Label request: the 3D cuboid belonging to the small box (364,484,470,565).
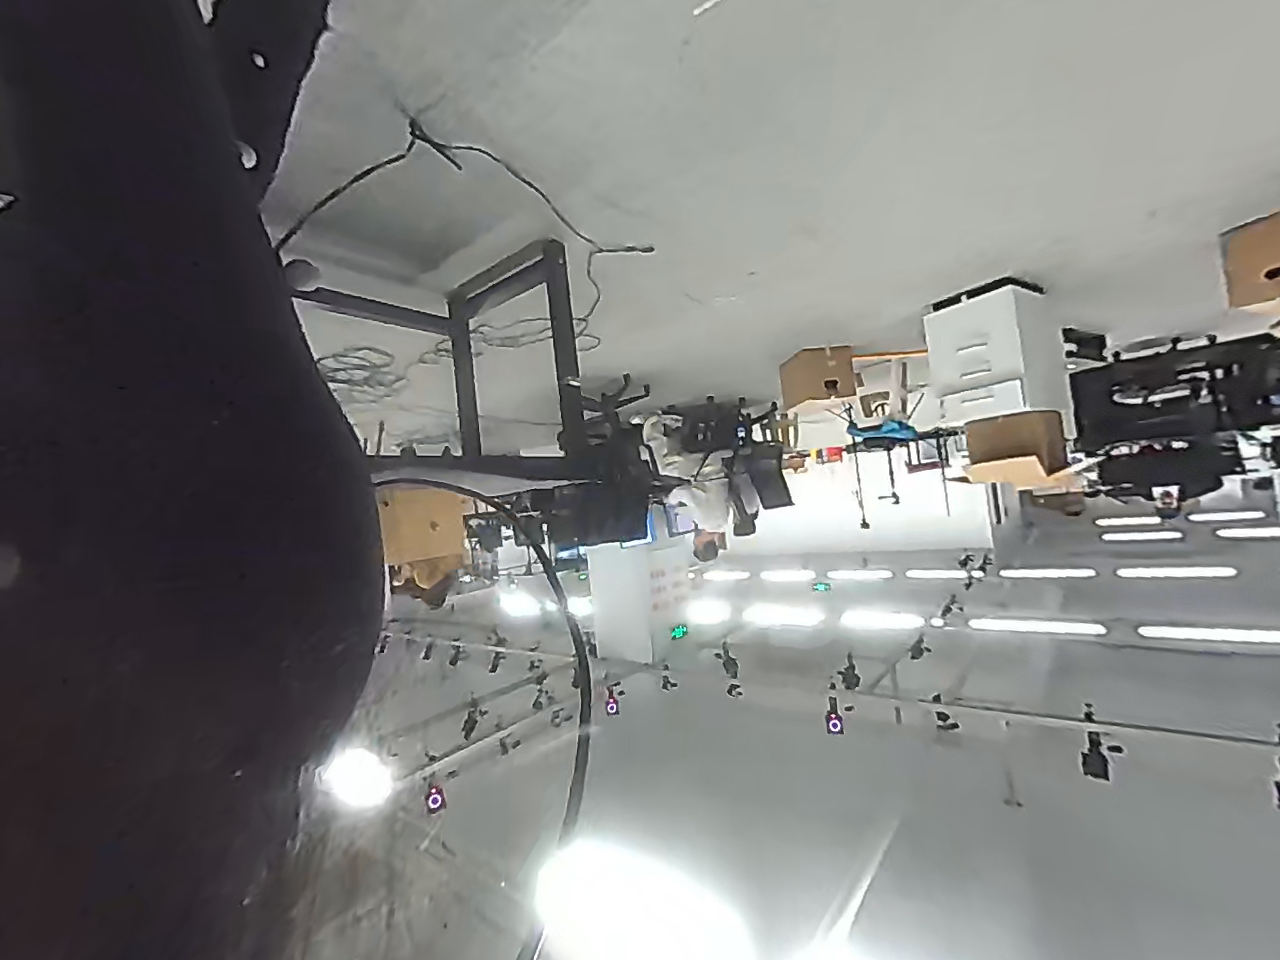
[{"bbox_3d":[-0.537,0.106,1.298,0.168,0.176,0.179,-7,180,36],"label":"small box"}]
